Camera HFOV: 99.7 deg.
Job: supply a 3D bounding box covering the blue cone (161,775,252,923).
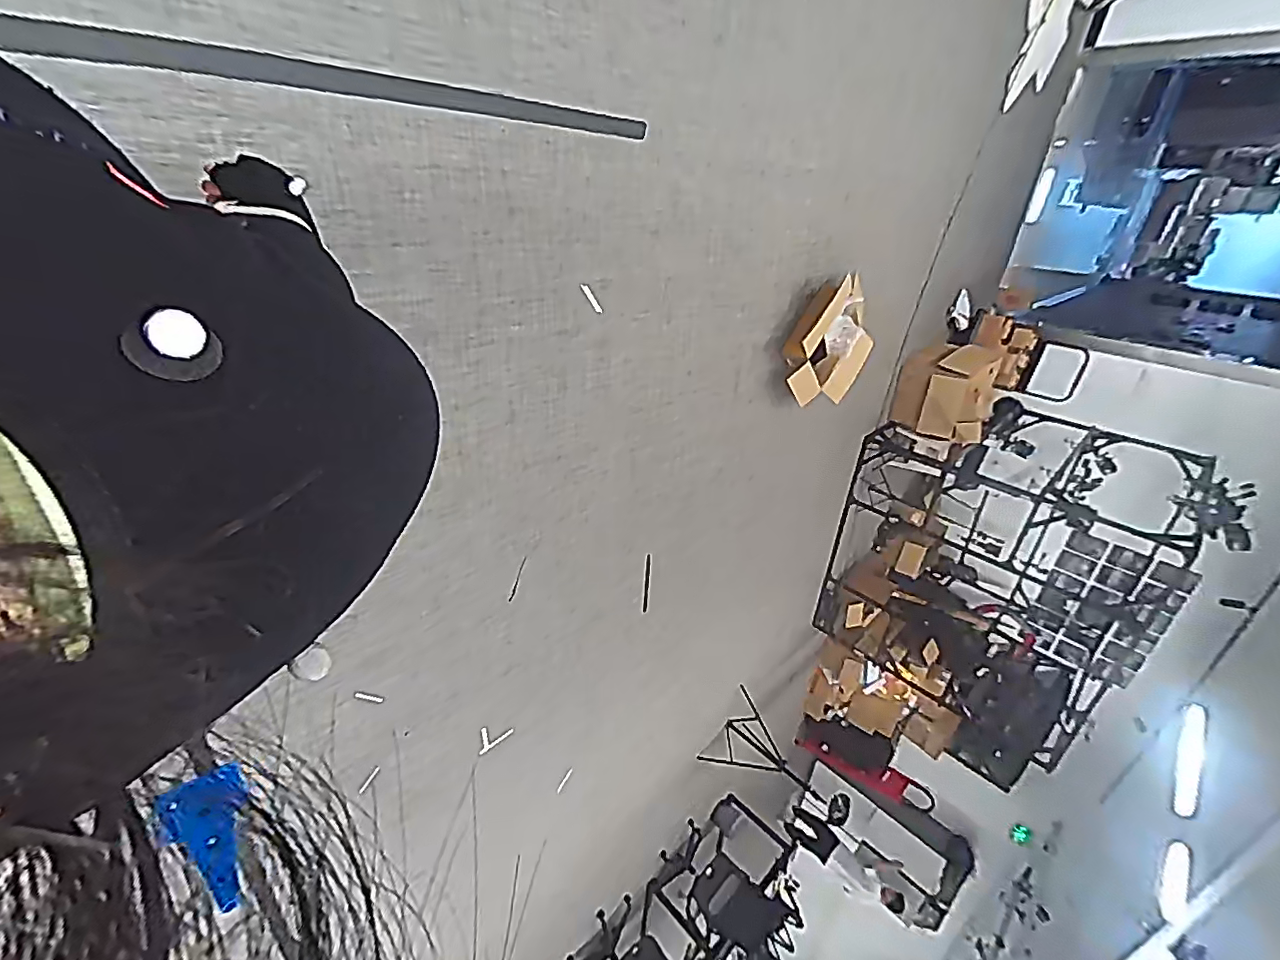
[{"bbox_3d":[-1.137,1.030,1.472,0.193,0.380,0.192,-19,126,-41],"label":"blue cone"}]
